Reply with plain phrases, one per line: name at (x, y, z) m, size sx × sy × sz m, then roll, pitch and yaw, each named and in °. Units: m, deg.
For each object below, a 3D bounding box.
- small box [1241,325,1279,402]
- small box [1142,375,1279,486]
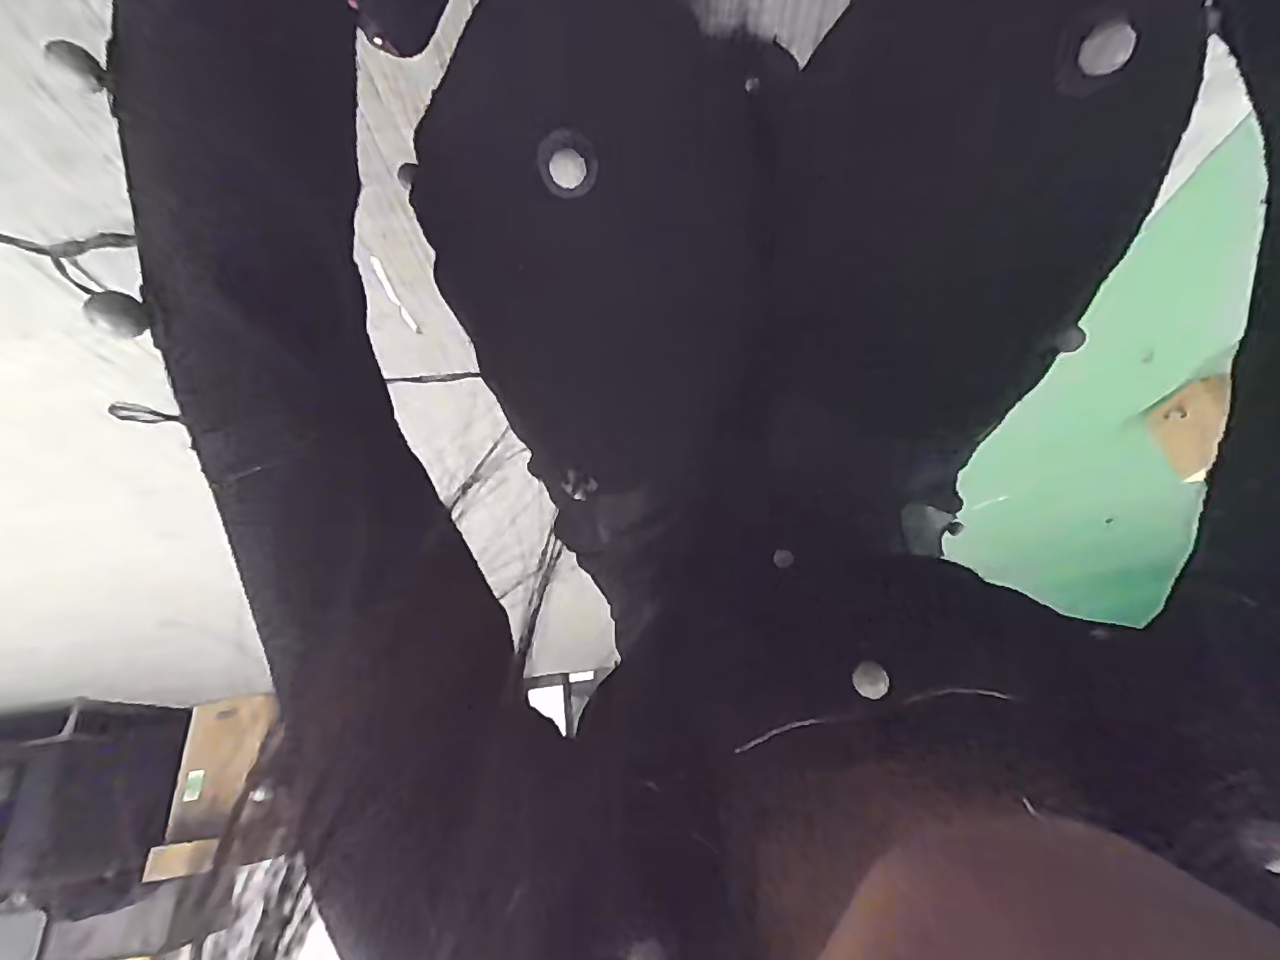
small box at (1.231, -0.217, 0.932) m, size 0.179 × 0.176 × 0.168 m, roll -9°, pitch 154°, yaw 0°
small box at (1.252, -0.107, 1.154) m, size 0.179 × 0.176 × 0.168 m, roll -10°, pitch 153°, yaw 3°
